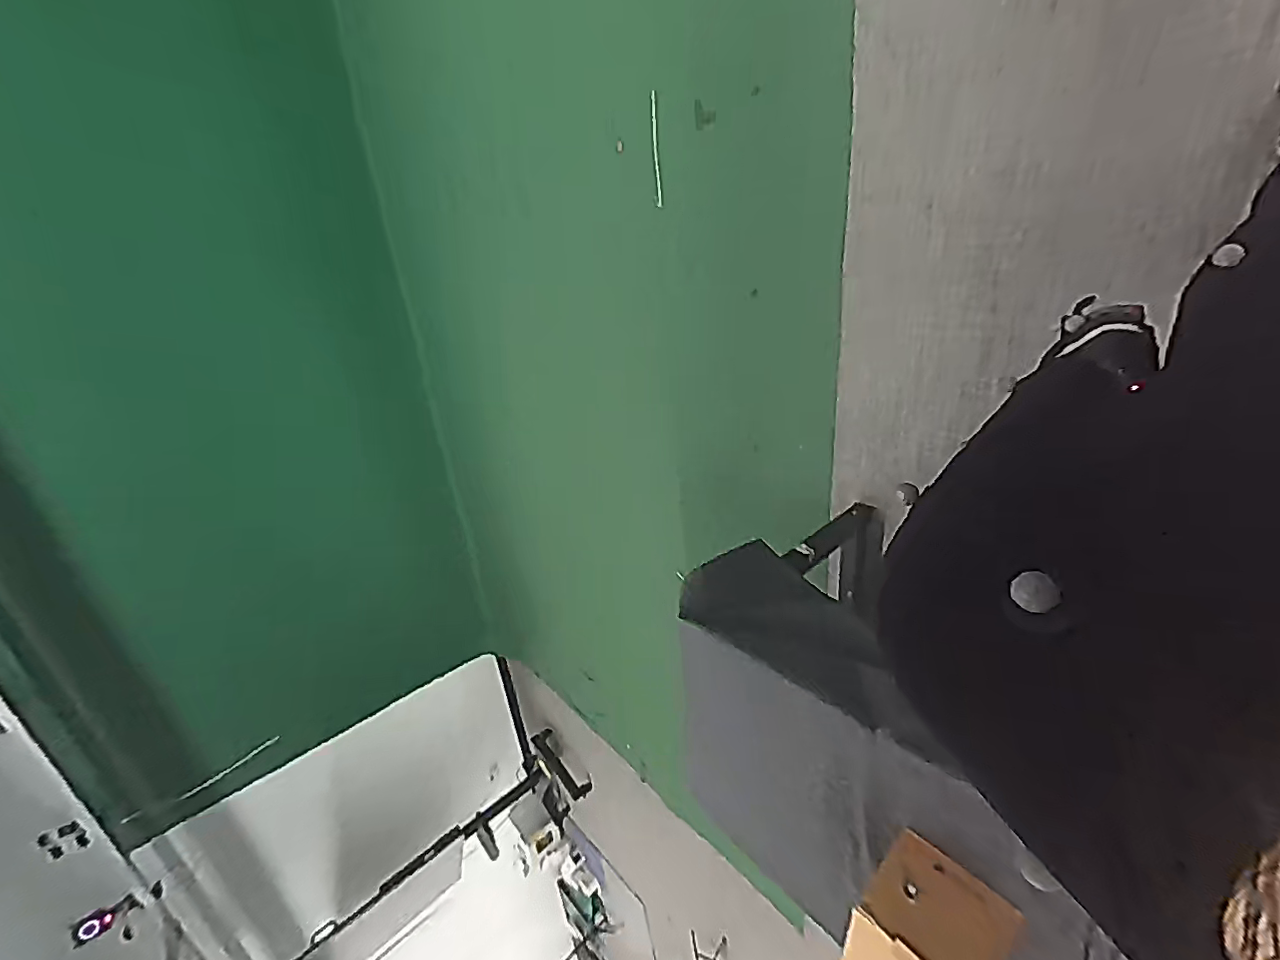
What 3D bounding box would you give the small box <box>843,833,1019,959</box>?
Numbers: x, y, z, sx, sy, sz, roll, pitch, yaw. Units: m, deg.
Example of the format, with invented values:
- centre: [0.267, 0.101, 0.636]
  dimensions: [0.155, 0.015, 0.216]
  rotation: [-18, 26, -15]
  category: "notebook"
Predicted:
- centre: [0.430, 0.681, 0.803]
  dimensions: [0.168, 0.176, 0.179]
  rotation: [26, 130, 44]
  category: "small box"
